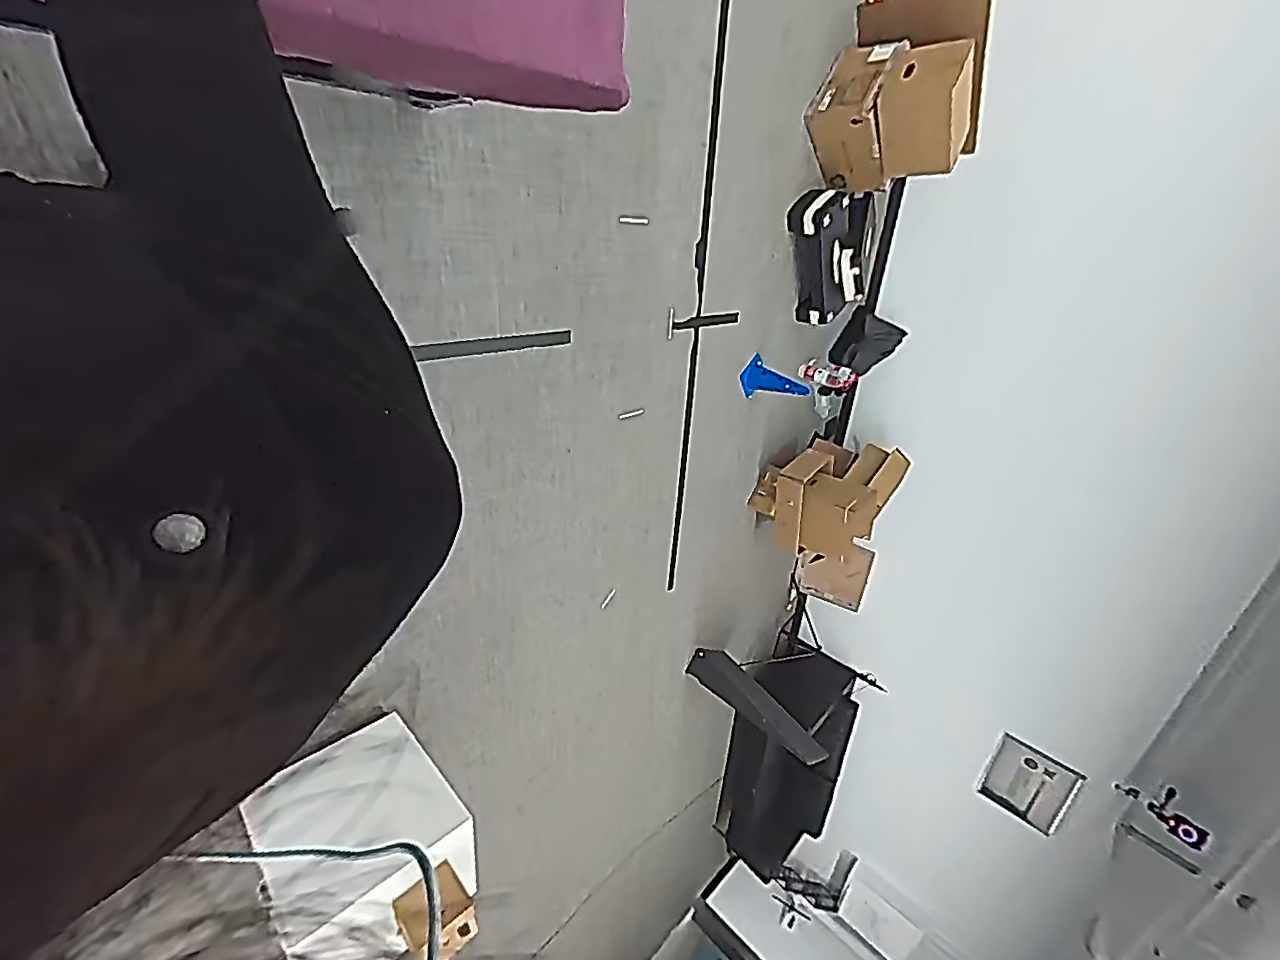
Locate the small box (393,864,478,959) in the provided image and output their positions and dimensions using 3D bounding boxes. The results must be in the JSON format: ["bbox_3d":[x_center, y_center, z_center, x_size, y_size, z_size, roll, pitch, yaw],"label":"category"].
[{"bbox_3d":[-0.606,1.302,1.606,0.179,0.176,0.168,-22,125,-41],"label":"small box"}]
